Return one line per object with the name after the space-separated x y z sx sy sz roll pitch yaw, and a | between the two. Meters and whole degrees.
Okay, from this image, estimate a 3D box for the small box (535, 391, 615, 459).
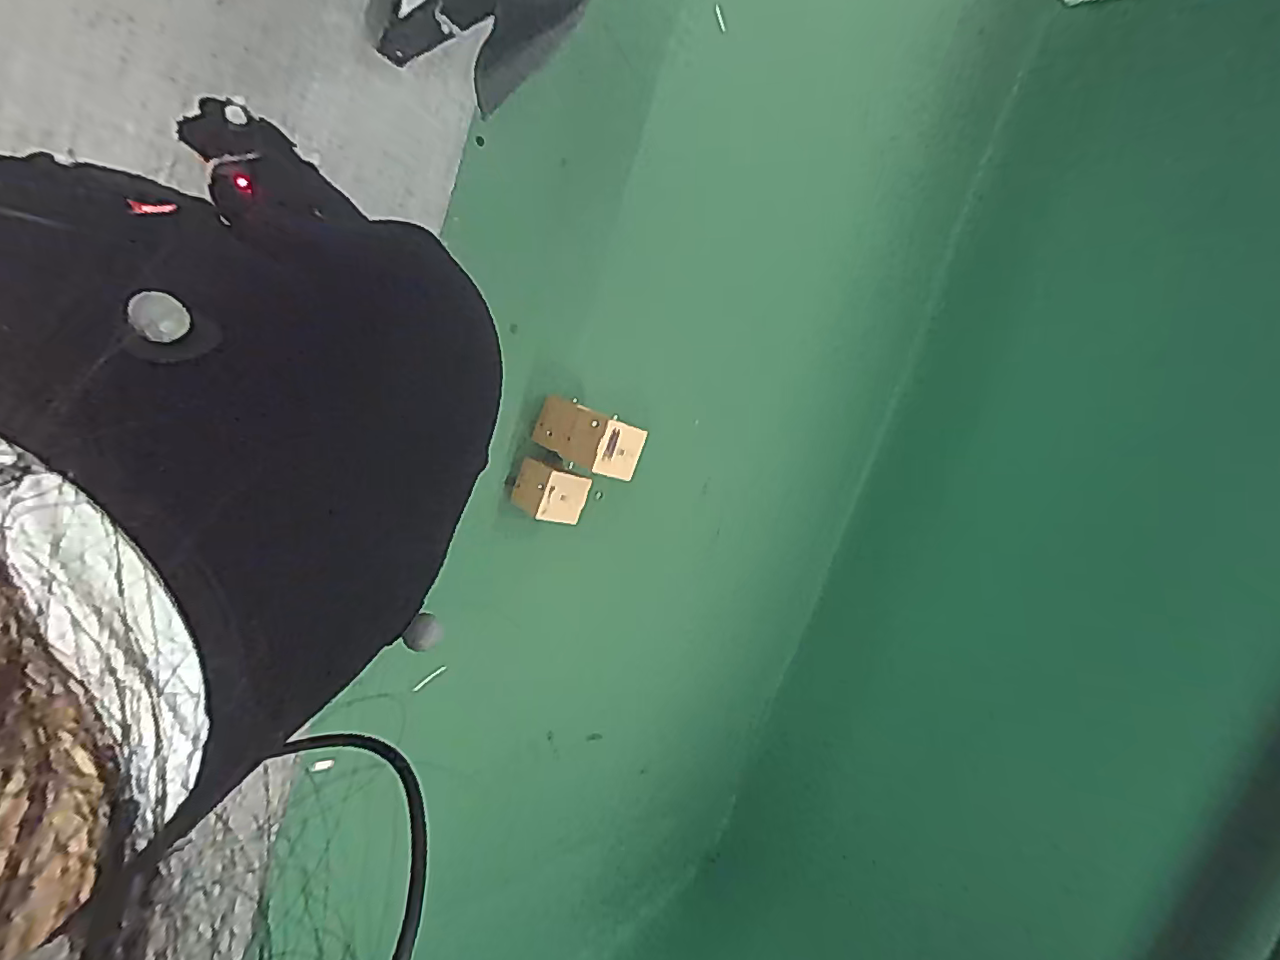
-0.220 -0.188 1.803 0.179 0.176 0.168 17 96 -47 | small box
